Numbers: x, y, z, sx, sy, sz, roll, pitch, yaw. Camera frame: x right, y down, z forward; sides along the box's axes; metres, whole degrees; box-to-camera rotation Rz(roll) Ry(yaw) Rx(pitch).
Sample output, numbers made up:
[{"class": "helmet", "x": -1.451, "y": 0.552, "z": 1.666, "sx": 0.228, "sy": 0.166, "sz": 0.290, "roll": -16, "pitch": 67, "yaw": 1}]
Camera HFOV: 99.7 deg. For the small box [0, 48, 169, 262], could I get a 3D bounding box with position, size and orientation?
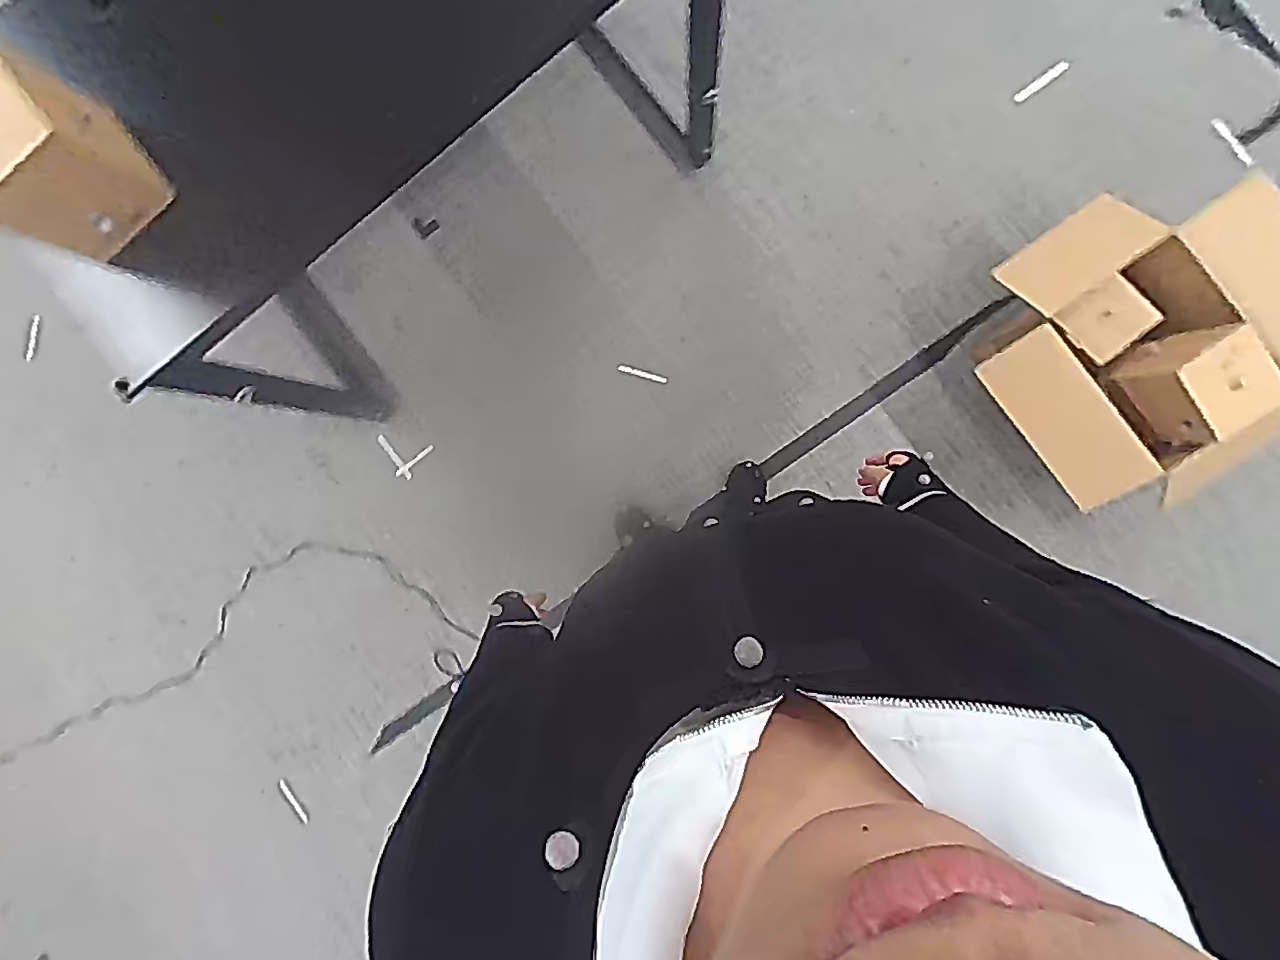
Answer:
[{"class": "small box", "x": -0.833, "y": -0.443, "z": 0.753, "sx": 0.168, "sy": 0.176, "sz": 0.179, "roll": -39, "pitch": 89, "yaw": 4}]
